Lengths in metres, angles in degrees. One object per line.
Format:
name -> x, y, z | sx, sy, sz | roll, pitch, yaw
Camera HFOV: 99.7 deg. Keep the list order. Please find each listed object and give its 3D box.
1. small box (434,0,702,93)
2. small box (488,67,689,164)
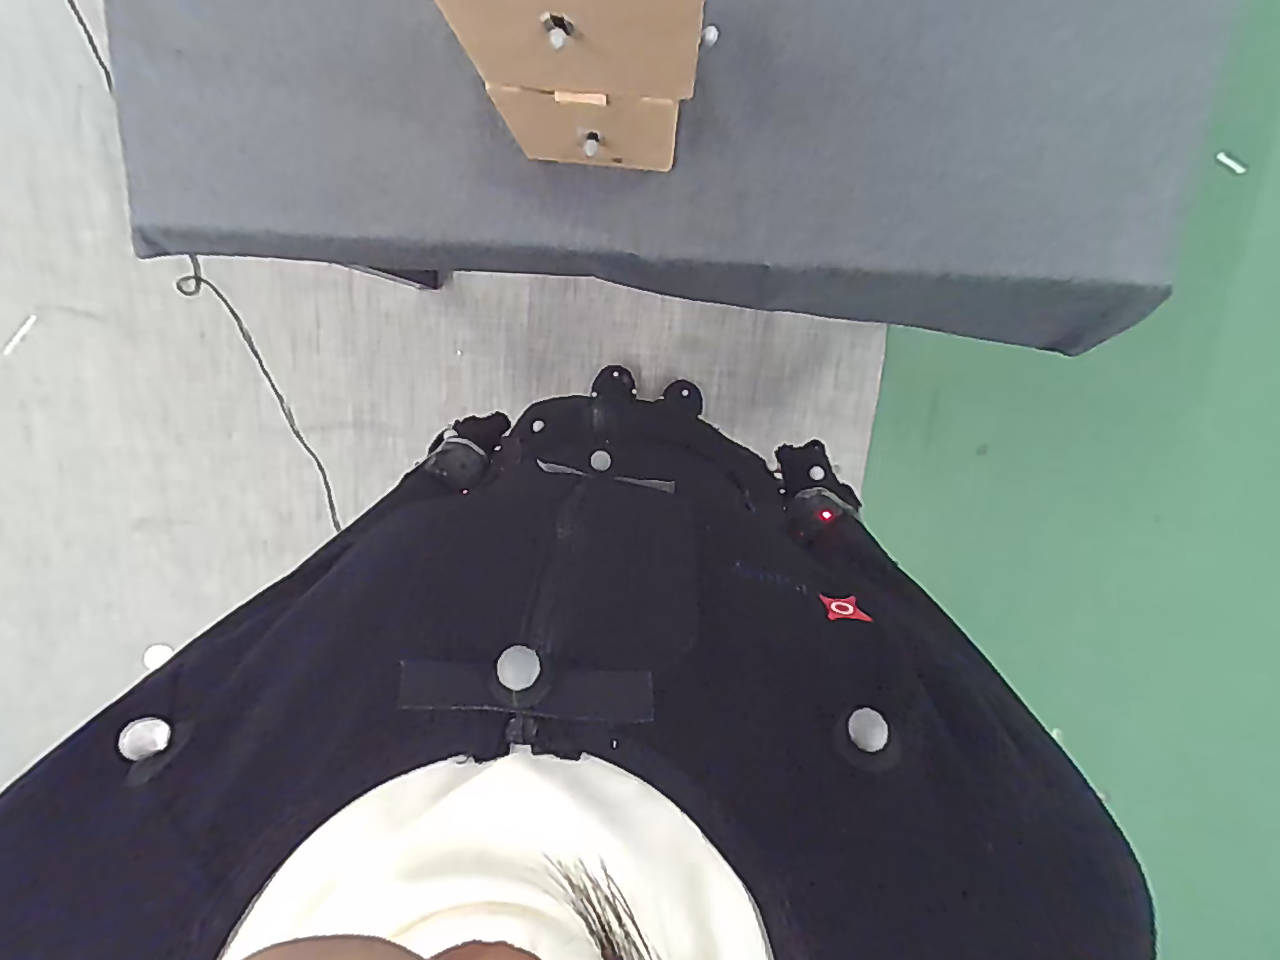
small box -> -0.040, -0.386, 0.355 | 0.179, 0.176, 0.168 | 5, 102, 3
small box -> -0.036, -0.425, 0.515 | 0.168, 0.176, 0.179 | 5, 103, 3
